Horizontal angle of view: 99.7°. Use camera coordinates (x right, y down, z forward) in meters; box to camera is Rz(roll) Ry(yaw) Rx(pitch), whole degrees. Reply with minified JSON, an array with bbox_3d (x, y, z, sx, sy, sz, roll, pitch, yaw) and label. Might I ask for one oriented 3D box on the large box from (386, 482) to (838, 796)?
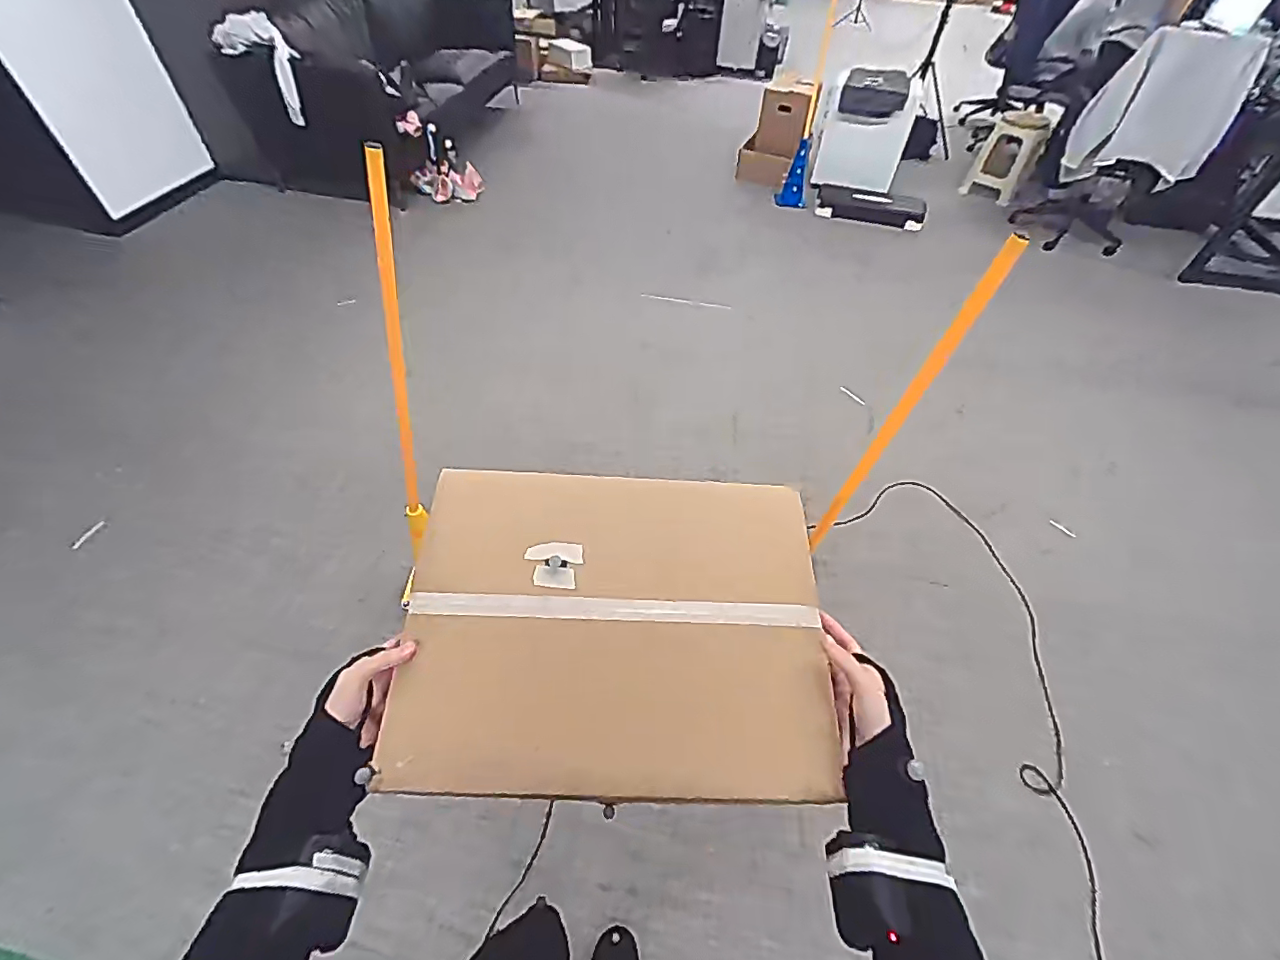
[{"bbox_3d":[-0.027,0.214,0.674,0.408,0.320,0.320,2,57,-2],"label":"large box"}]
